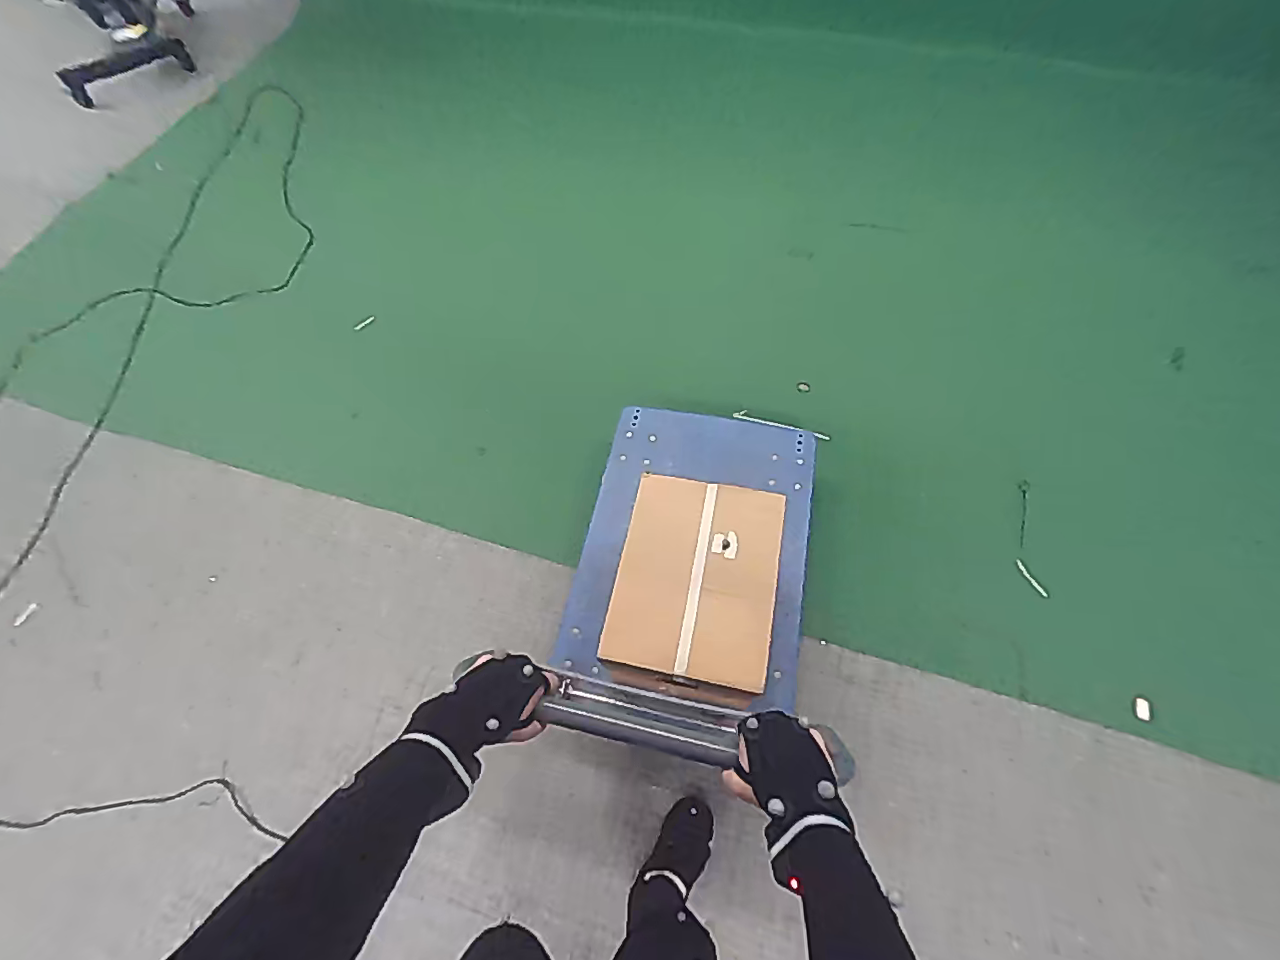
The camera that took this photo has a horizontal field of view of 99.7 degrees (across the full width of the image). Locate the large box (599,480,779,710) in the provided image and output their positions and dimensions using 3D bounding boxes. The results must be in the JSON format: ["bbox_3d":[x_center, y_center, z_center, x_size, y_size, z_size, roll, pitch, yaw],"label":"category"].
[{"bbox_3d":[0.118,0.264,1.214,0.320,0.320,0.408,10,62,8],"label":"large box"}]
